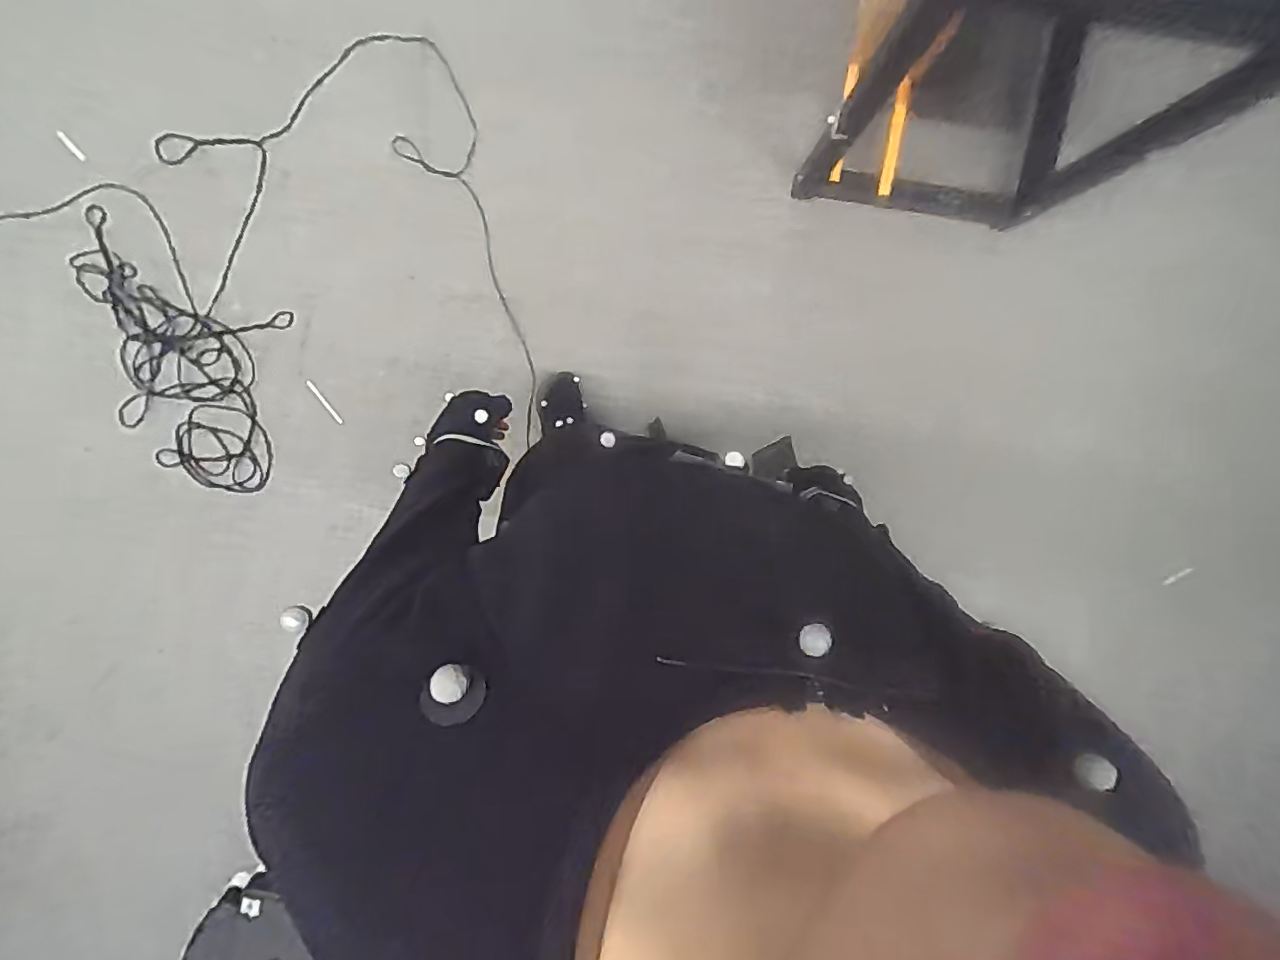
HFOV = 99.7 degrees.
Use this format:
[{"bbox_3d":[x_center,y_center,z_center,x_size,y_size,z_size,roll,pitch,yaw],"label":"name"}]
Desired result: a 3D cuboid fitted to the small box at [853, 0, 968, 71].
[{"bbox_3d":[0.585,-1.027,1.164,0.179,0.176,0.168,12,97,-1],"label":"small box"}]
